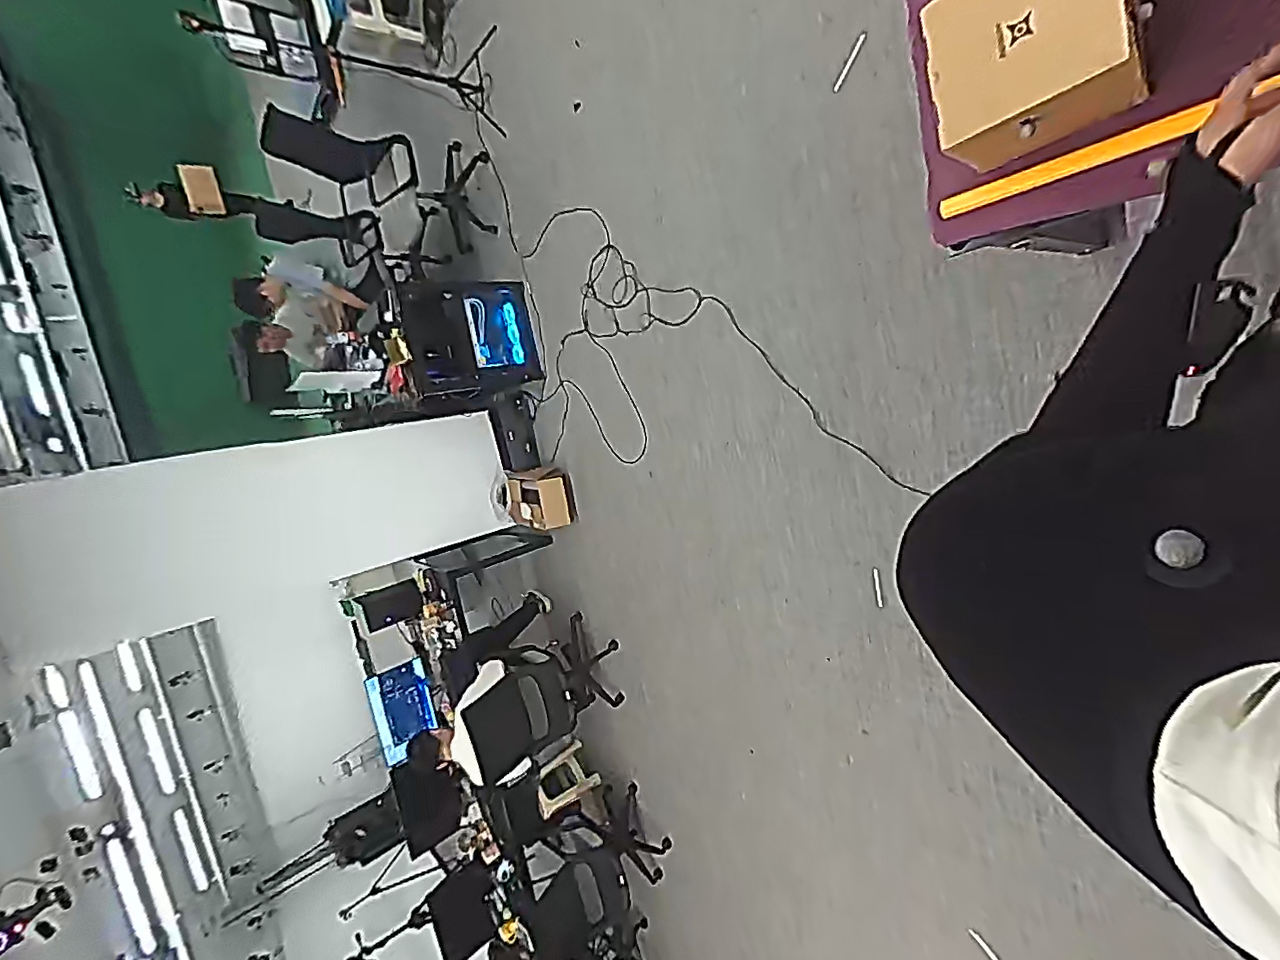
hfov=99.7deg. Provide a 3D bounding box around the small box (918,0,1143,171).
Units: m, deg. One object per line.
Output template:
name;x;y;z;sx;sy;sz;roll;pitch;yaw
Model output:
small box;0.459;-0.493;0.633;0.179;0.176;0.168;-5;99;51
